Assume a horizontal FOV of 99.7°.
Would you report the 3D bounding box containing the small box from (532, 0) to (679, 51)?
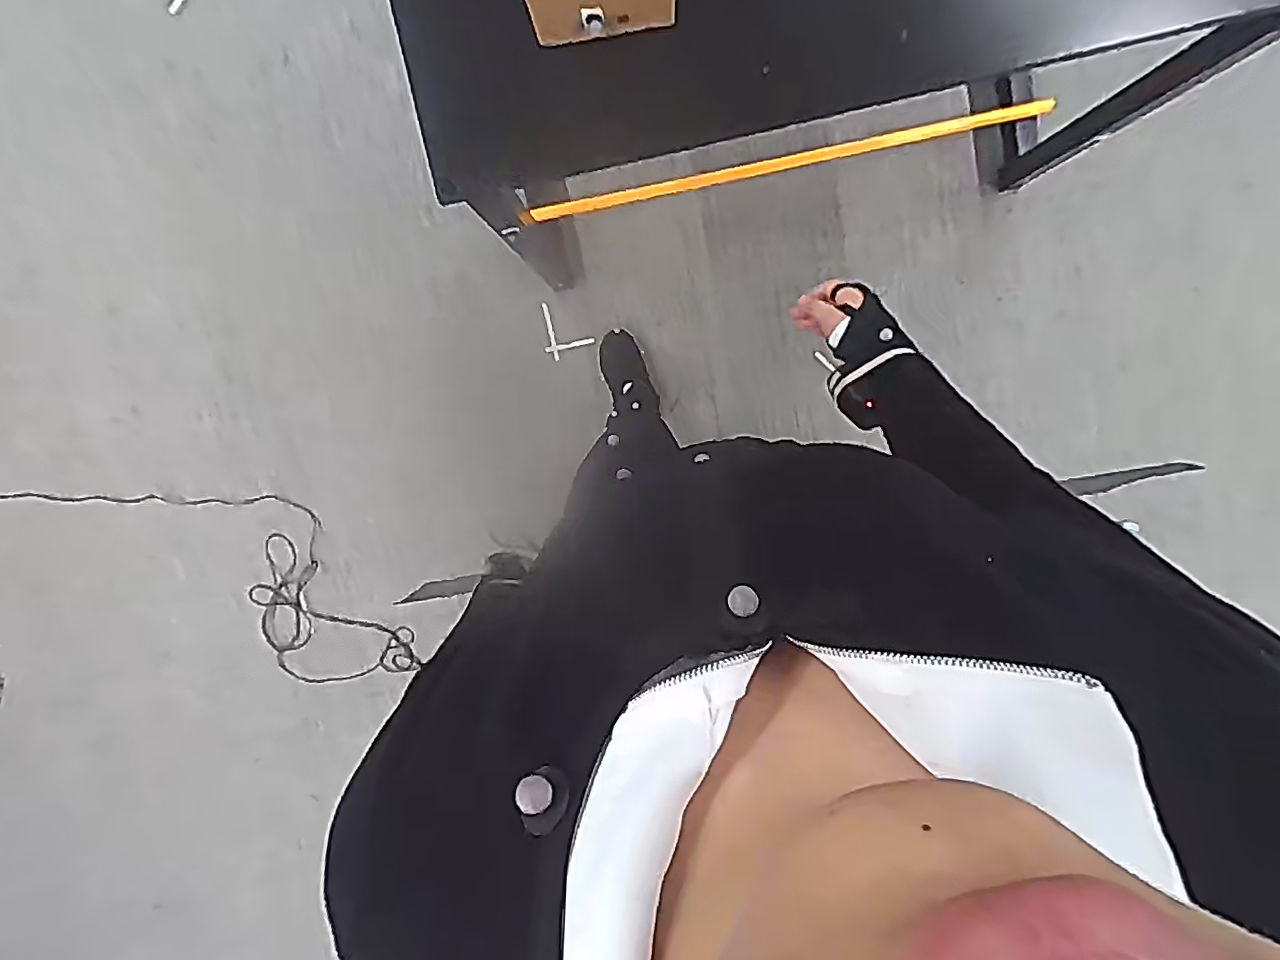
[{"bbox_3d":[-0.049,-0.605,0.565,0.168,0.176,0.179,-8,100,4],"label":"small box"}]
